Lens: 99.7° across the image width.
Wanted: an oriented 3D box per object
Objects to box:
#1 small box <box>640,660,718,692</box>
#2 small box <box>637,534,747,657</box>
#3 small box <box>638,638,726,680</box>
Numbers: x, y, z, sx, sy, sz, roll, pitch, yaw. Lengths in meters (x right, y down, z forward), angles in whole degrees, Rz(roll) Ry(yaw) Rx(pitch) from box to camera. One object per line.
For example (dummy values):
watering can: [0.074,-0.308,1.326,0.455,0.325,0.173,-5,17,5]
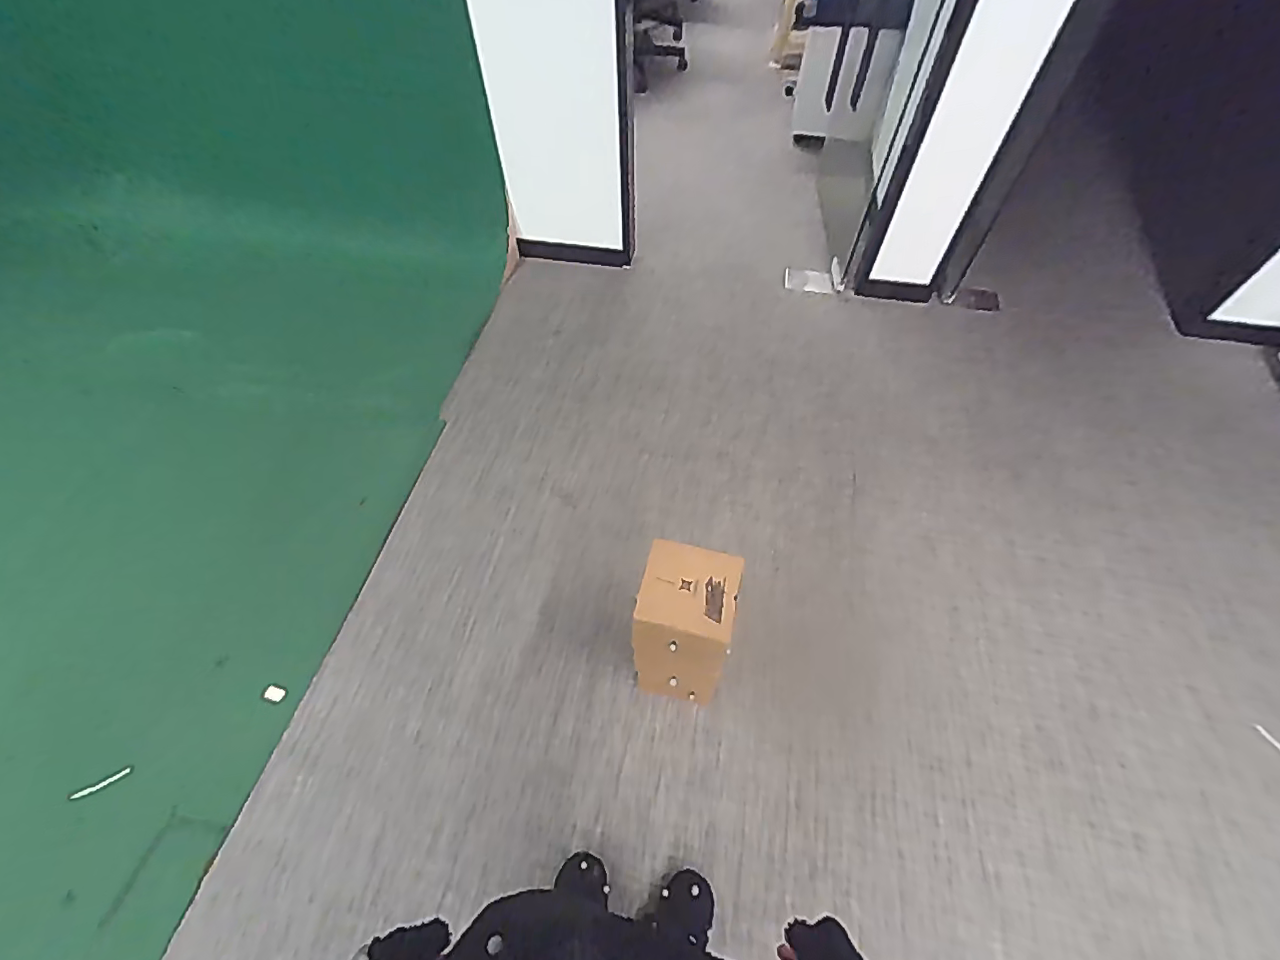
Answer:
small box: [0.105,0.405,1.318,0.179,0.176,0.168,10,57,9]
small box: [0.096,0.228,1.041,0.179,0.176,0.168,11,58,6]
small box: [0.101,0.320,1.177,0.179,0.176,0.168,14,58,9]
